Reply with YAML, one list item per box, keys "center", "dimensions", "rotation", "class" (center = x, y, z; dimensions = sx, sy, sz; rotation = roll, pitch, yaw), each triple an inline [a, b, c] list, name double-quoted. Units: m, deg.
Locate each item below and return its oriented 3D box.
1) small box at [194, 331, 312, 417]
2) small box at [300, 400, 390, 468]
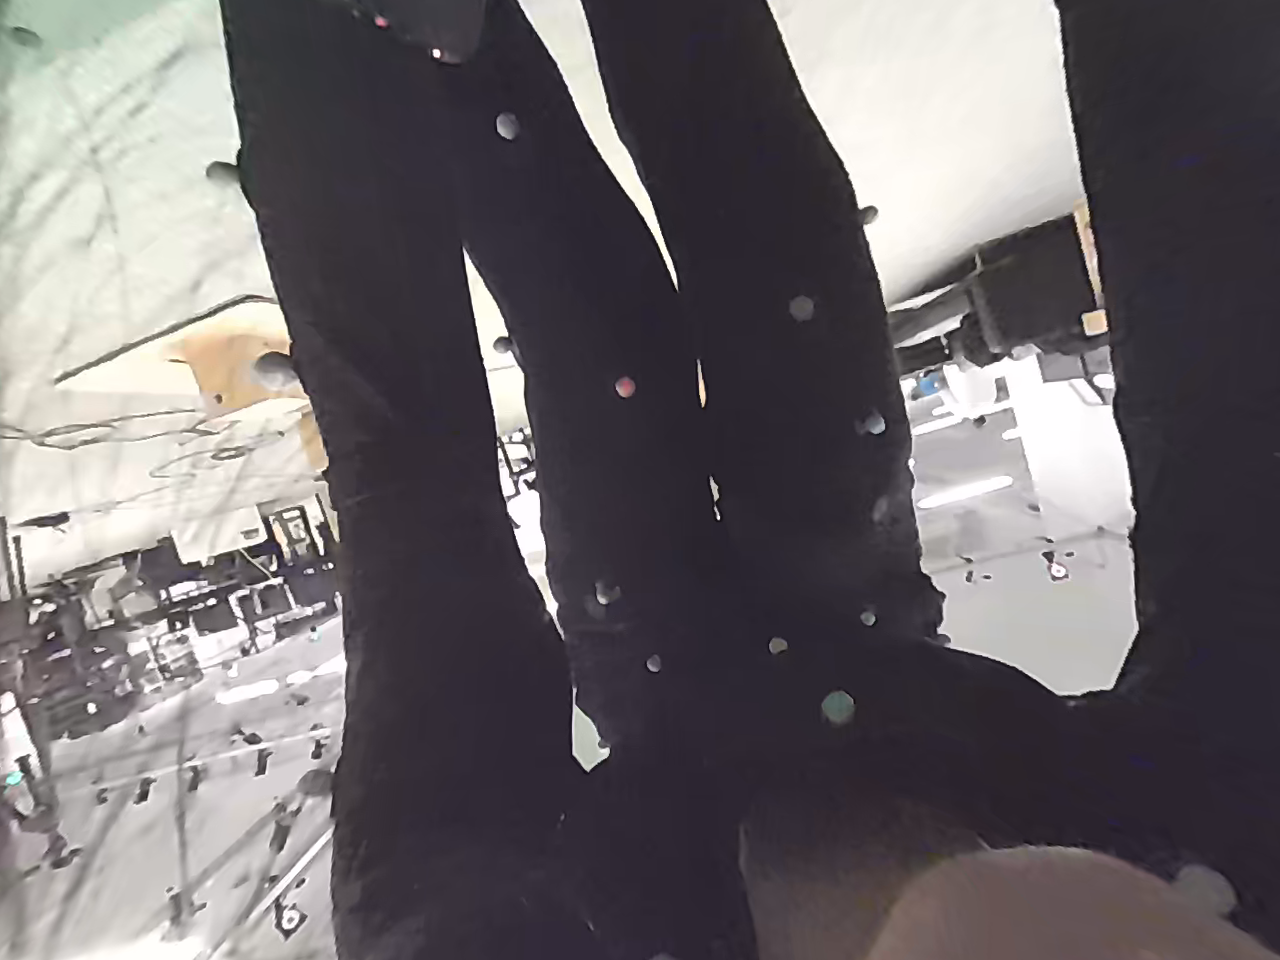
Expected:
- center: [-1.011, -0.271, 1.410]
  dimensions: [0.179, 0.176, 0.168]
  rotation: [-18, -175, 7]
  class: "small box"
- center: [-0.927, -0.146, 1.692]
  dimensions: [0.179, 0.176, 0.168]
  rotation: [-17, -176, 11]
  class: "small box"
